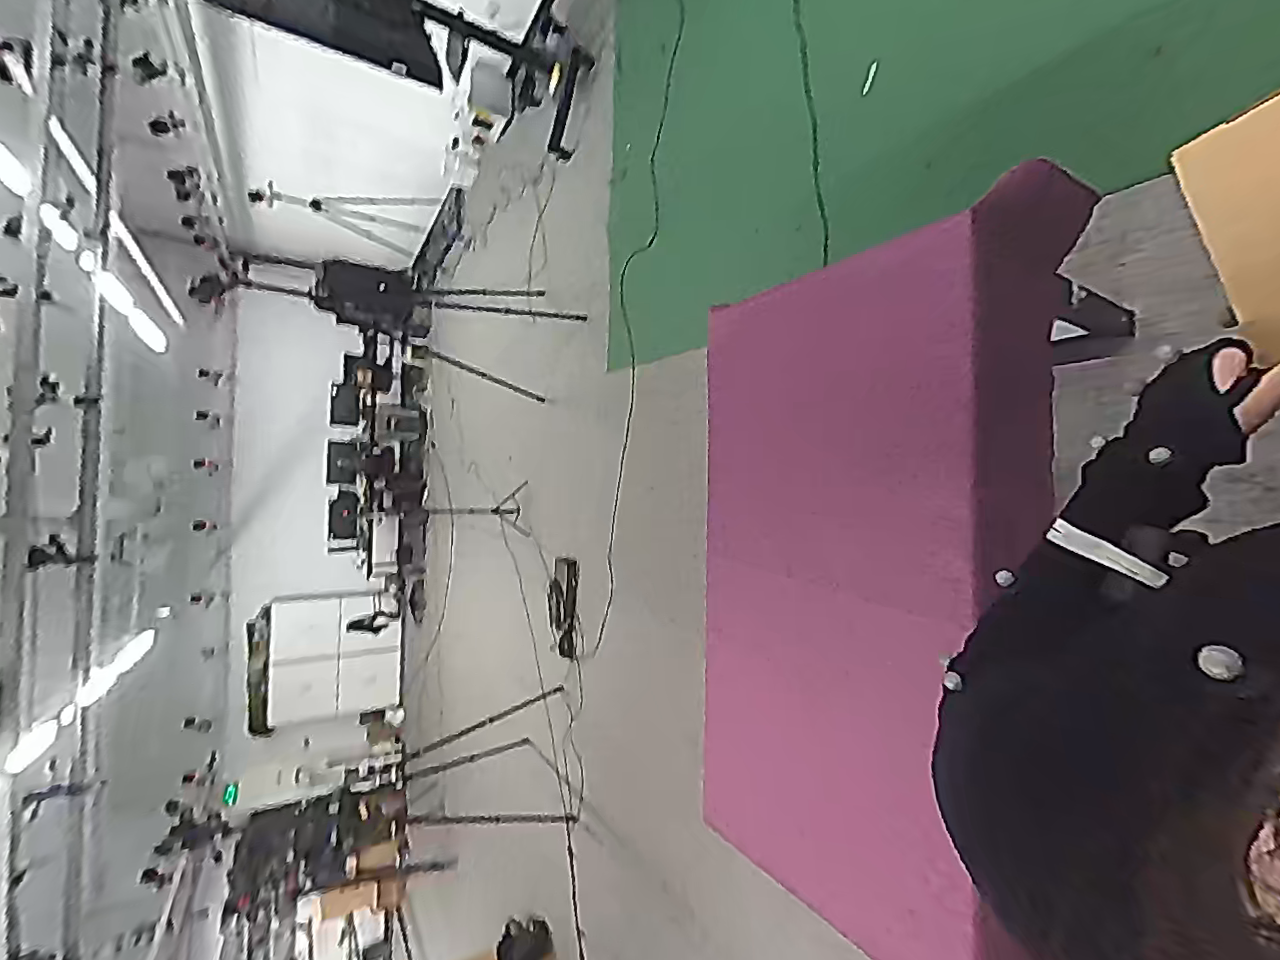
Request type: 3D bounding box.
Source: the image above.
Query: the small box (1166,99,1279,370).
[{"bbox_3d":[0.532,-0.194,0.381,0.168,0.176,0.179,-22,81,59],"label":"small box"}]
